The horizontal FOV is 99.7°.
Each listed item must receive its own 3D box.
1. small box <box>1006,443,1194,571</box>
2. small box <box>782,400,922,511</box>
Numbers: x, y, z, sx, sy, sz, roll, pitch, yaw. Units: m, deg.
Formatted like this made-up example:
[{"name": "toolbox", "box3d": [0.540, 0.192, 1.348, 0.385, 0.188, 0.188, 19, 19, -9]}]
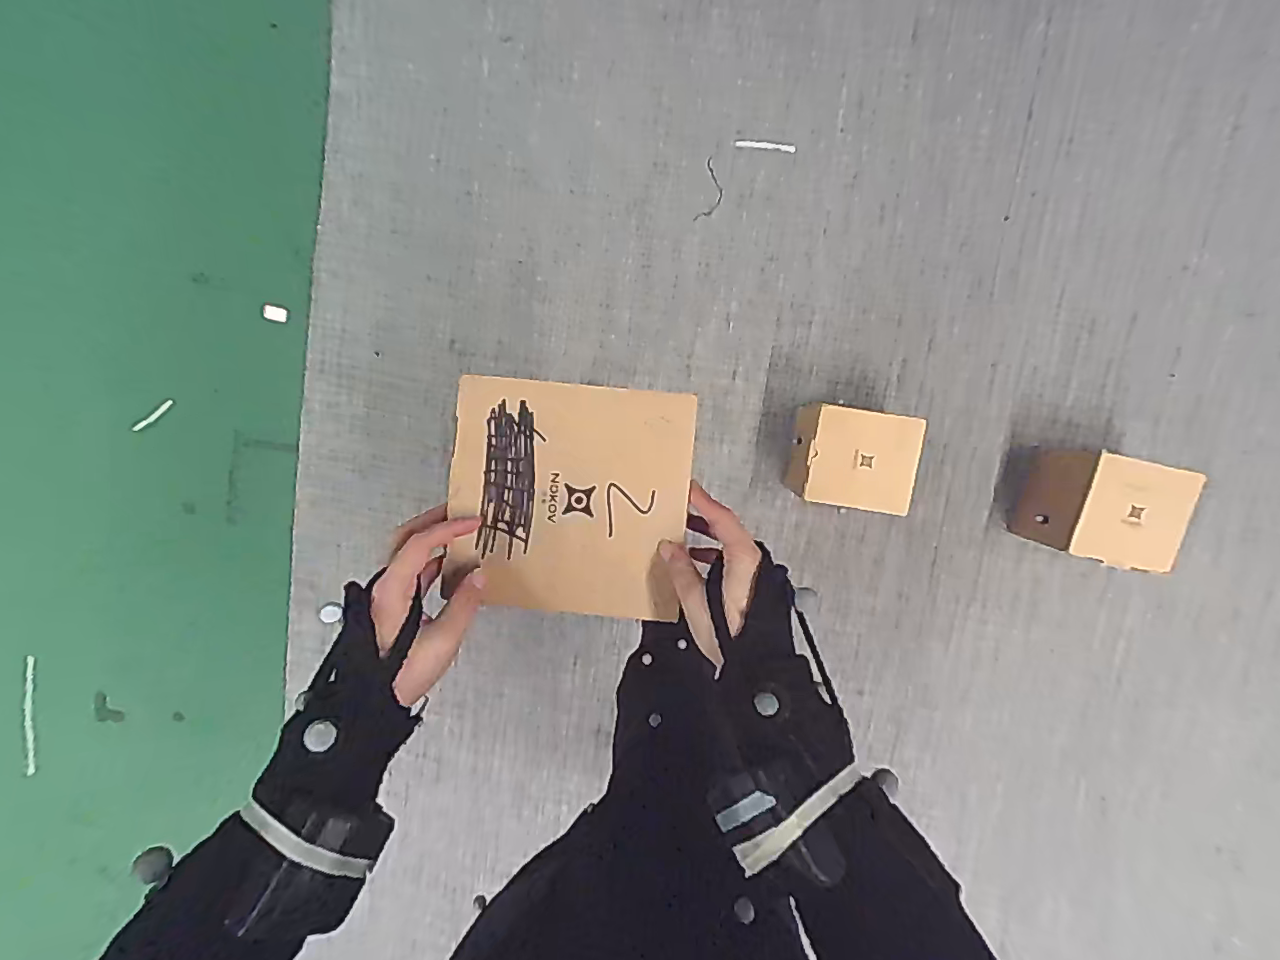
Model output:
[{"name": "small box", "box3d": [0.792, 0.039, 0.955, 0.168, 0.176, 0.179, 13, 97, 2]}, {"name": "small box", "box3d": [0.371, -0.052, 0.978, 0.179, 0.176, 0.168, 9, 98, 4]}]
